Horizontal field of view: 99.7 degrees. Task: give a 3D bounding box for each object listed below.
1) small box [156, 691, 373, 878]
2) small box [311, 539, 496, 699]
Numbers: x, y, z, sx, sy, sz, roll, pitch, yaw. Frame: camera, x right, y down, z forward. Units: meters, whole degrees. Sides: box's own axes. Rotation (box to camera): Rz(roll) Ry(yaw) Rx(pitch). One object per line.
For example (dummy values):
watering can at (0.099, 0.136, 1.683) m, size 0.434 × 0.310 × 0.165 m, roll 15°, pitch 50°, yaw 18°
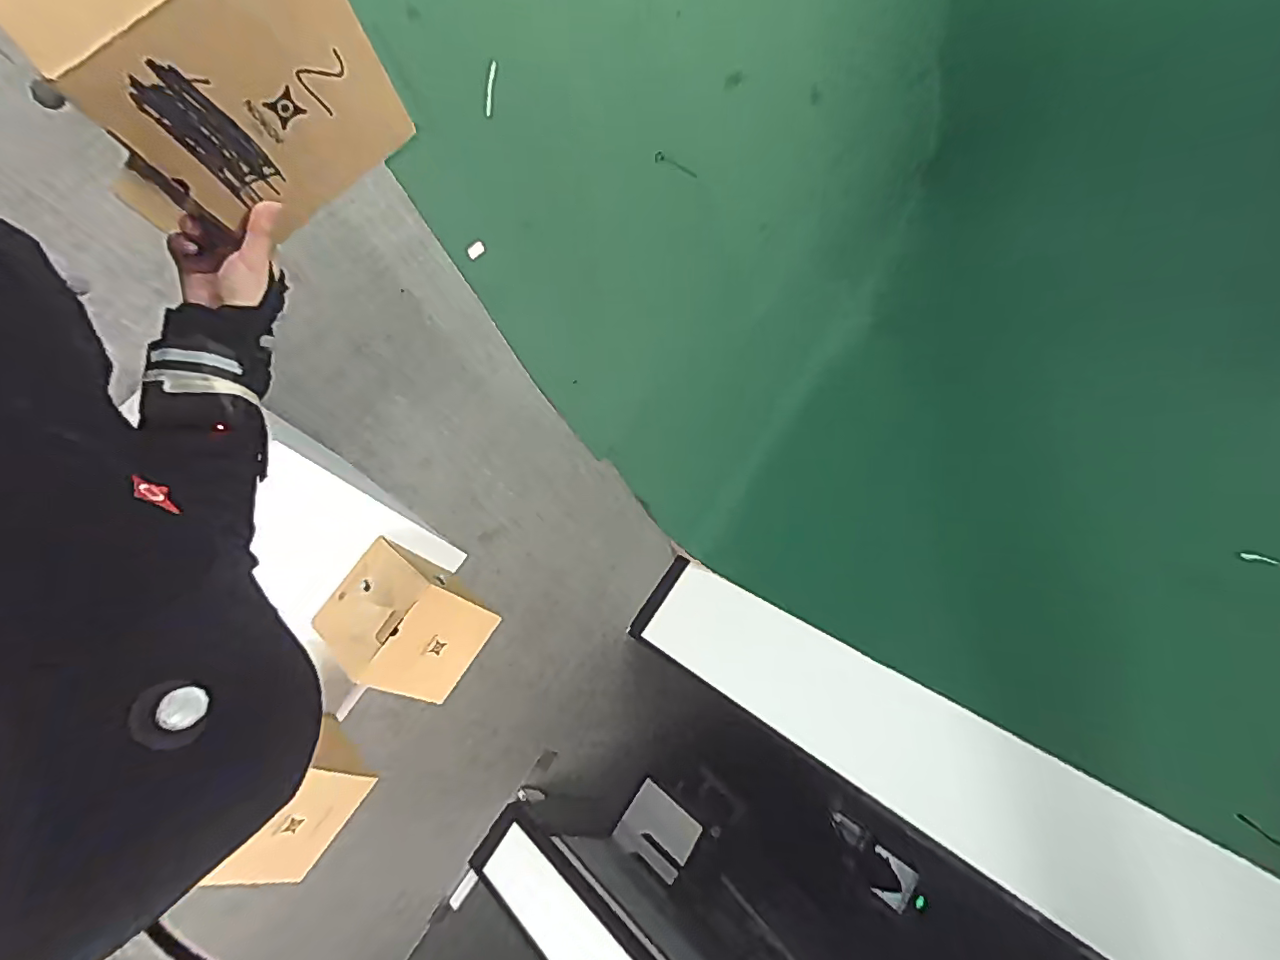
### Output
small box at (-0.543, 0.434, 0.786) m, size 0.168 × 0.176 × 0.179 m, roll -53°, pitch 144°, yaw -15°
small box at (-0.375, 0.218, 0.866) m, size 0.168 × 0.176 × 0.179 m, roll -55°, pitch 142°, yaw -12°
